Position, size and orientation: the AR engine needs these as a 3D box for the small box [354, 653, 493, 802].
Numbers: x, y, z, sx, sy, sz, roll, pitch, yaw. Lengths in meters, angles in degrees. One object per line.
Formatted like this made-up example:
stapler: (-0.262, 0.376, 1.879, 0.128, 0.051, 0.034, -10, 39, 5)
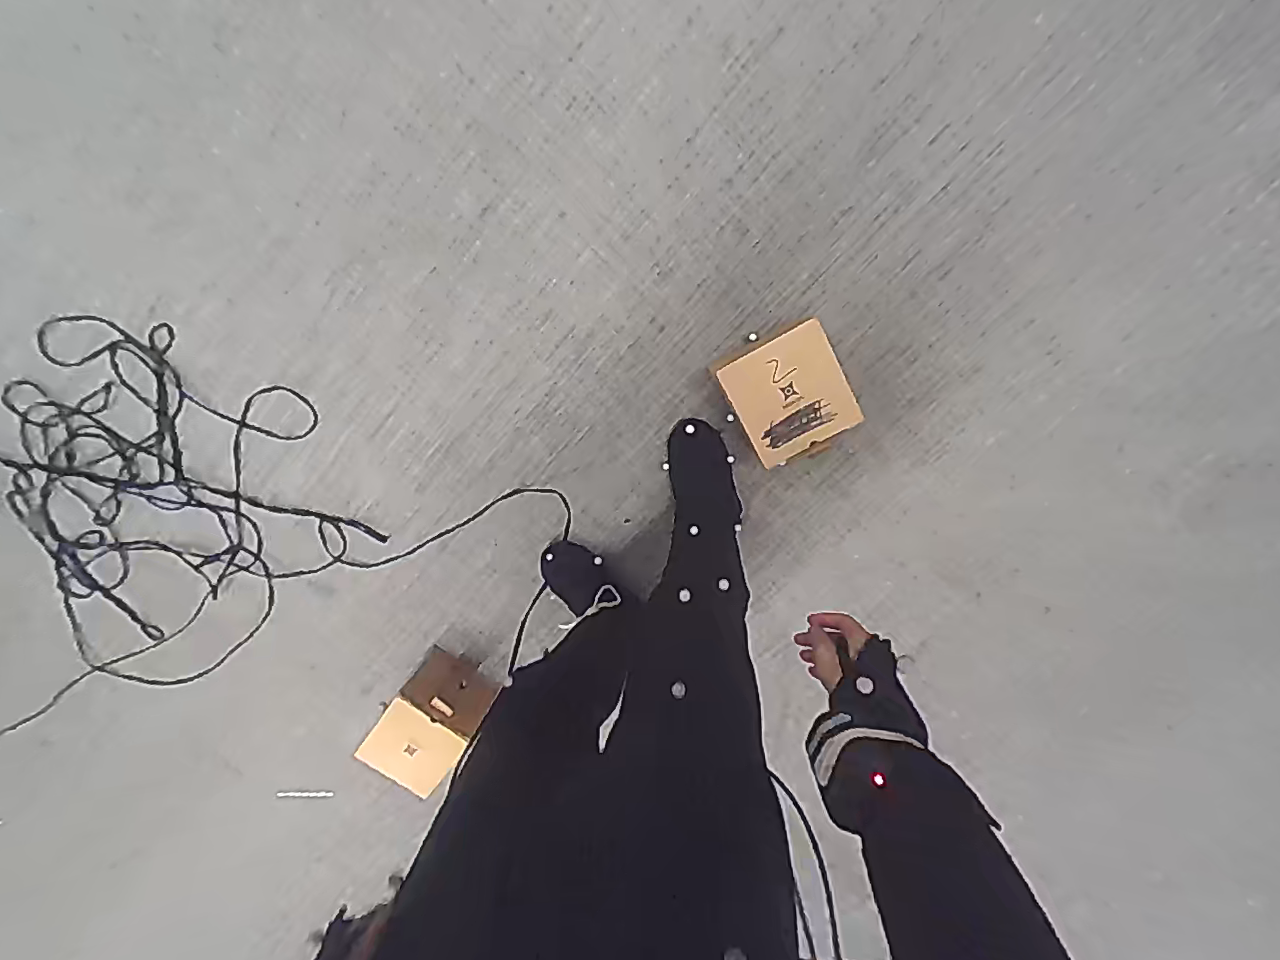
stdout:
small box: (-0.426, 0.492, 1.094, 0.168, 0.176, 0.179, 37, 103, -6)
